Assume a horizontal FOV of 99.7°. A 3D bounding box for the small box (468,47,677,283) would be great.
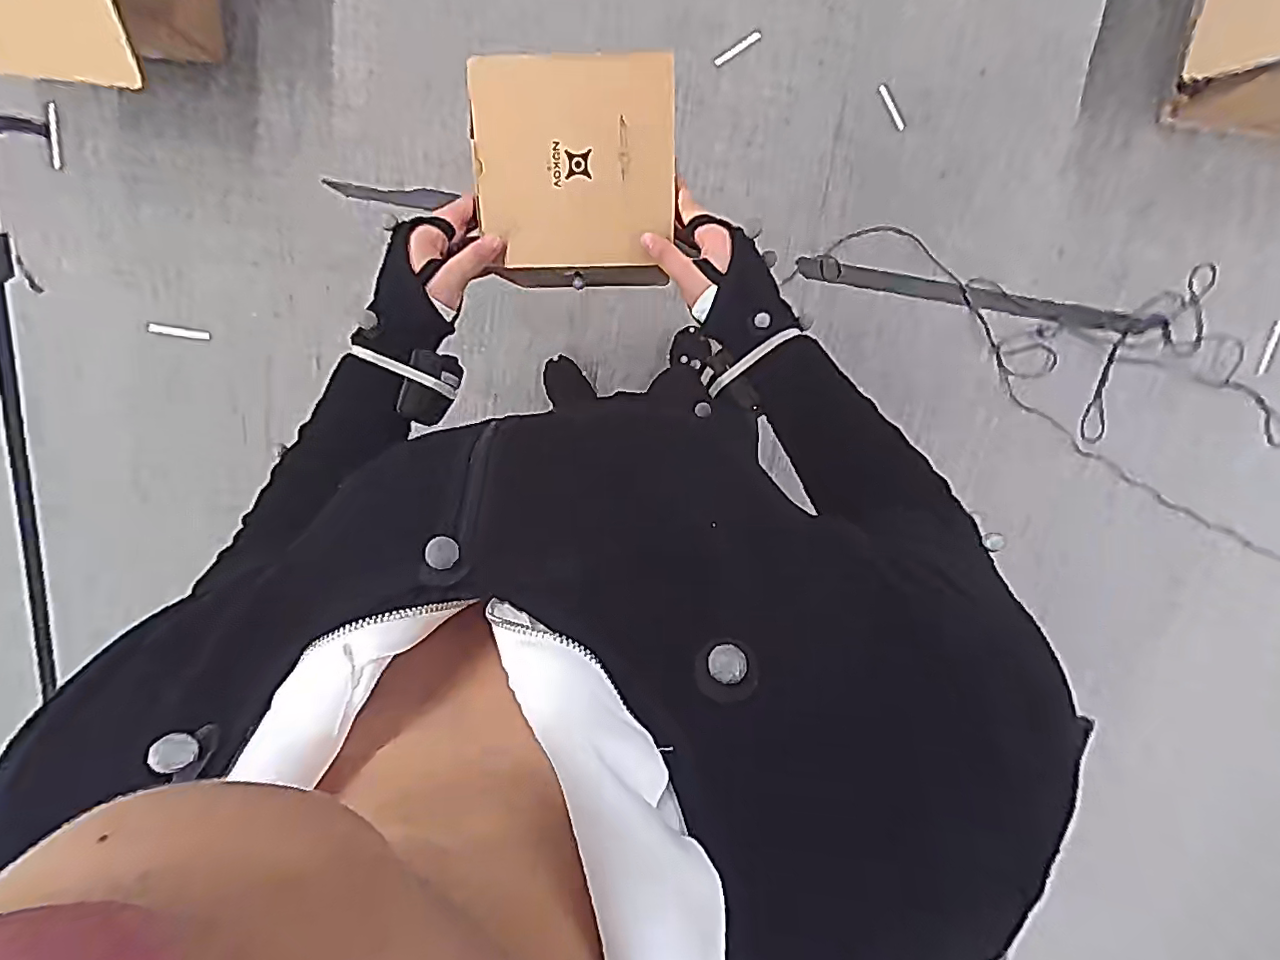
[{"bbox_3d":[-0.054,-0.292,0.539,0.179,0.176,0.168,-1,104,0],"label":"small box"}]
